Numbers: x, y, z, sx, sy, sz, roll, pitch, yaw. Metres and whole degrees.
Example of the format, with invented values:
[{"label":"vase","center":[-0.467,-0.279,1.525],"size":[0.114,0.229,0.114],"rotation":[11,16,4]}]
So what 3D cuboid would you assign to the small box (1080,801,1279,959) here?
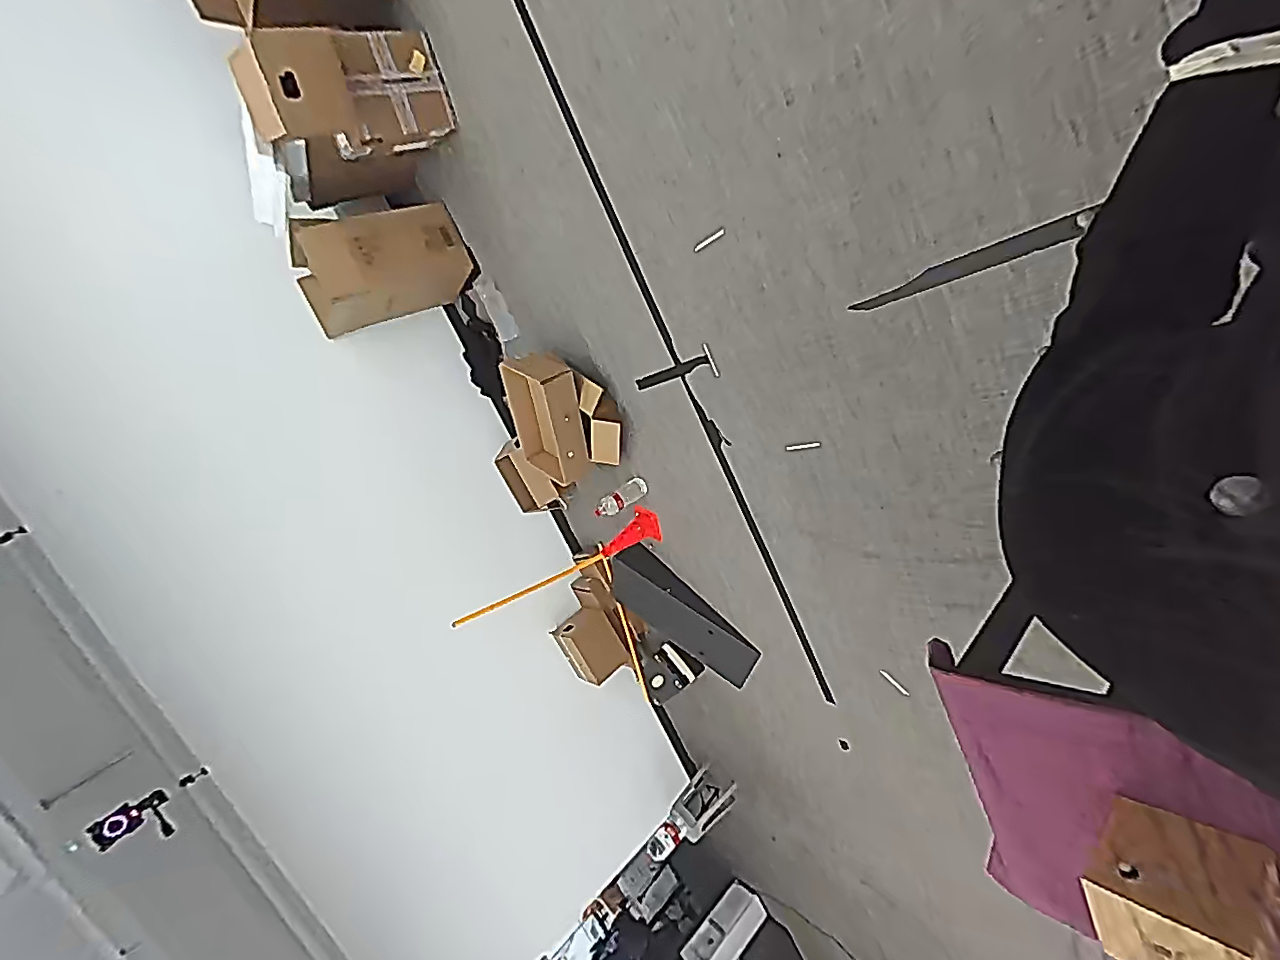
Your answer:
[{"label":"small box","center":[0.788,0.612,0.786],"size":[0.179,0.176,0.168],"rotation":[-4,115,56]}]
